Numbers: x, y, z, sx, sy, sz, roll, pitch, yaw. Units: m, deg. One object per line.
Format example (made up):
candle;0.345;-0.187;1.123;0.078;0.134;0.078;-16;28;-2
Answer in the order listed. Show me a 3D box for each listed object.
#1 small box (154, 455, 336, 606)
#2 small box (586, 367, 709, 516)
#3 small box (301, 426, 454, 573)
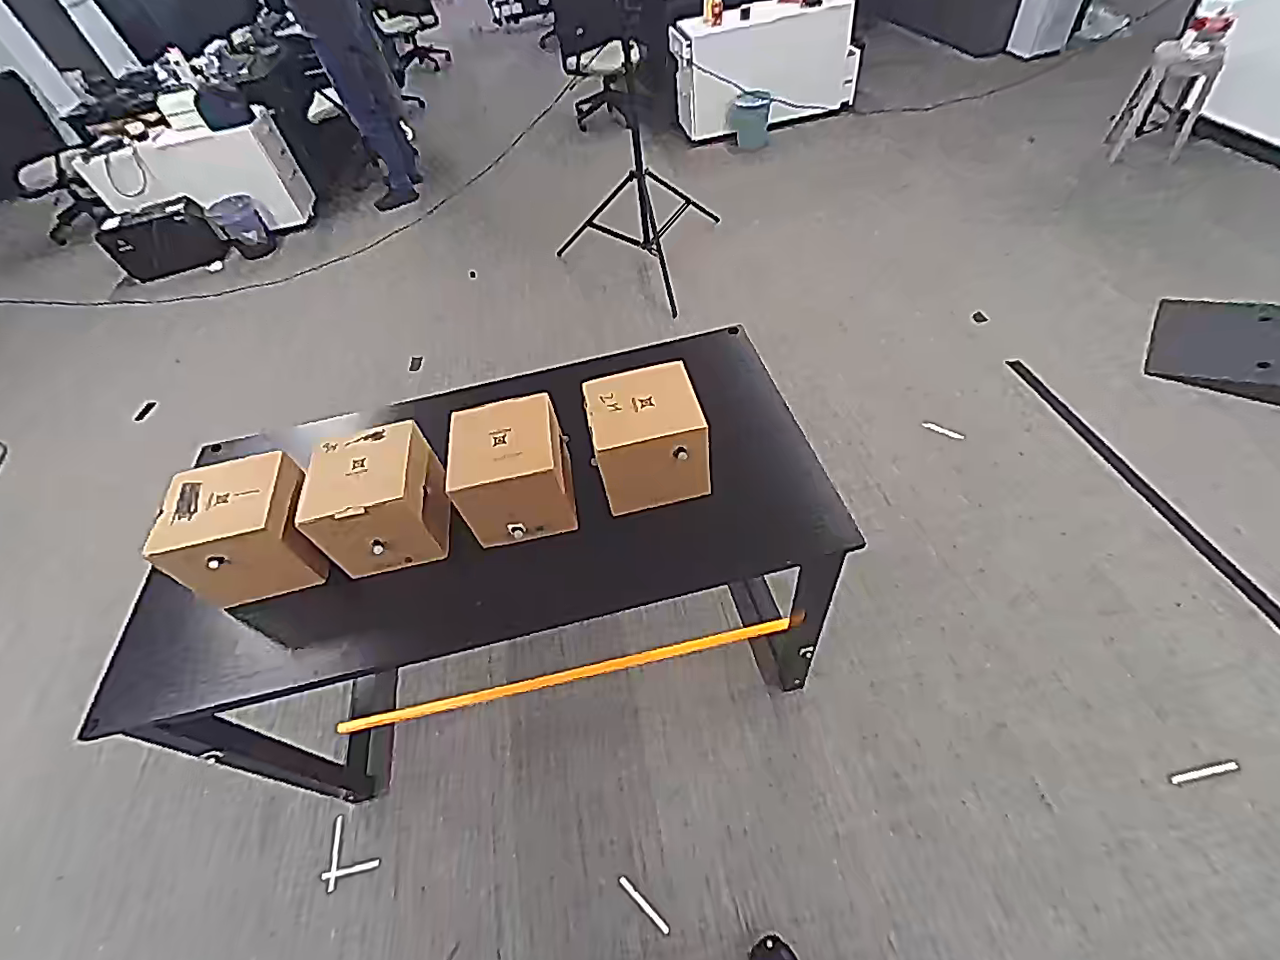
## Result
small box;-0.636;0.090;0.905;0.179;0.176;0.168;-14;51;-4
small box;0.014;-0.062;0.924;0.179;0.176;0.168;-13;50;-1
small box;-0.426;0.041;0.913;0.168;0.176;0.179;-13;51;-1
